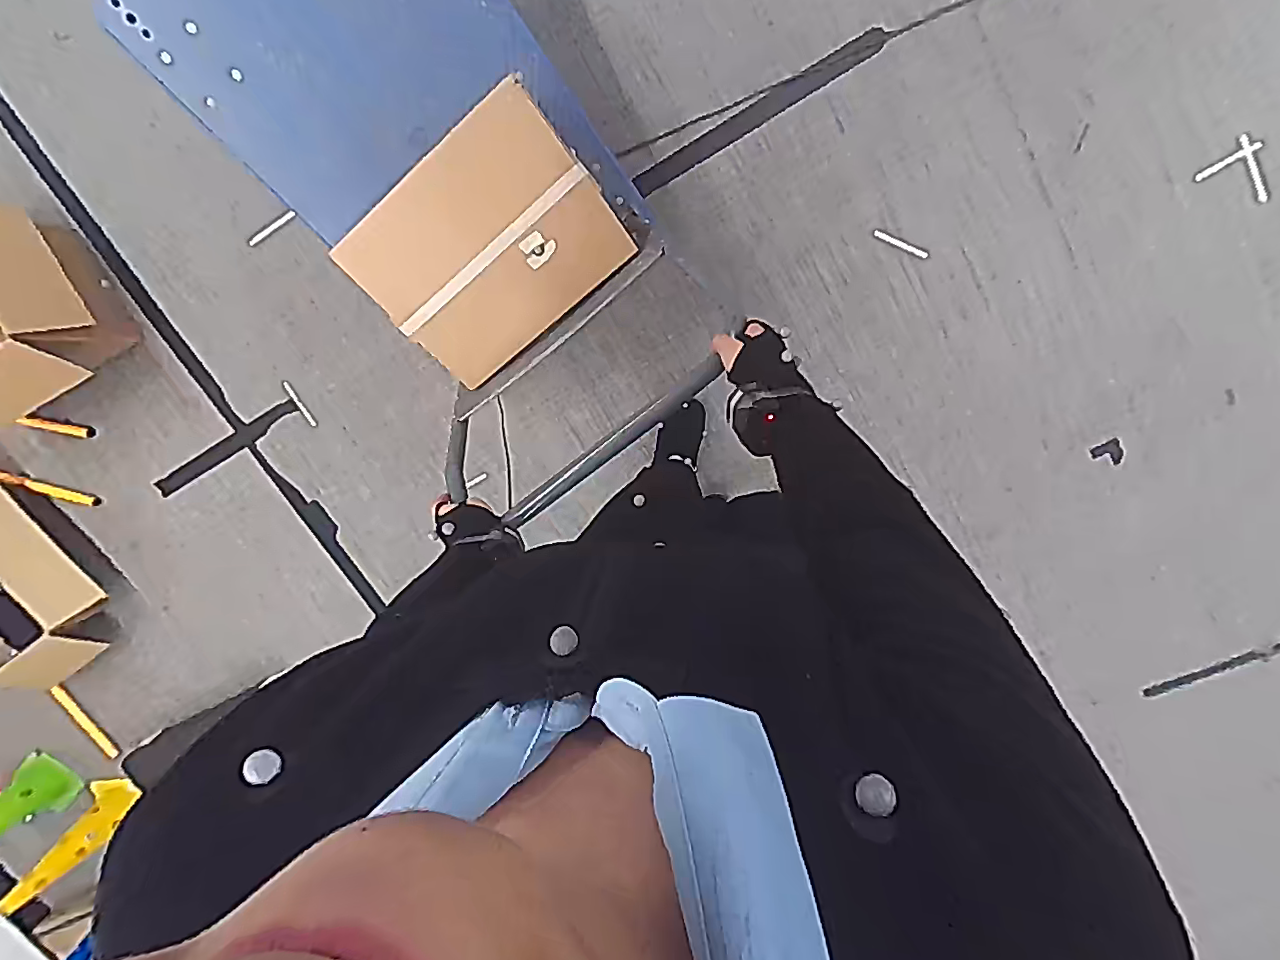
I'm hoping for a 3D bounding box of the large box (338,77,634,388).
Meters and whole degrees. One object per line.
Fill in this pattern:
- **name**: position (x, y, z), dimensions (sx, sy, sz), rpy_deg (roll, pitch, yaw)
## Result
- **large box**: position (-0.278, -0.456, 1.039), dimensions (0.408, 0.320, 0.320), rpy_deg (-38, 121, 10)
